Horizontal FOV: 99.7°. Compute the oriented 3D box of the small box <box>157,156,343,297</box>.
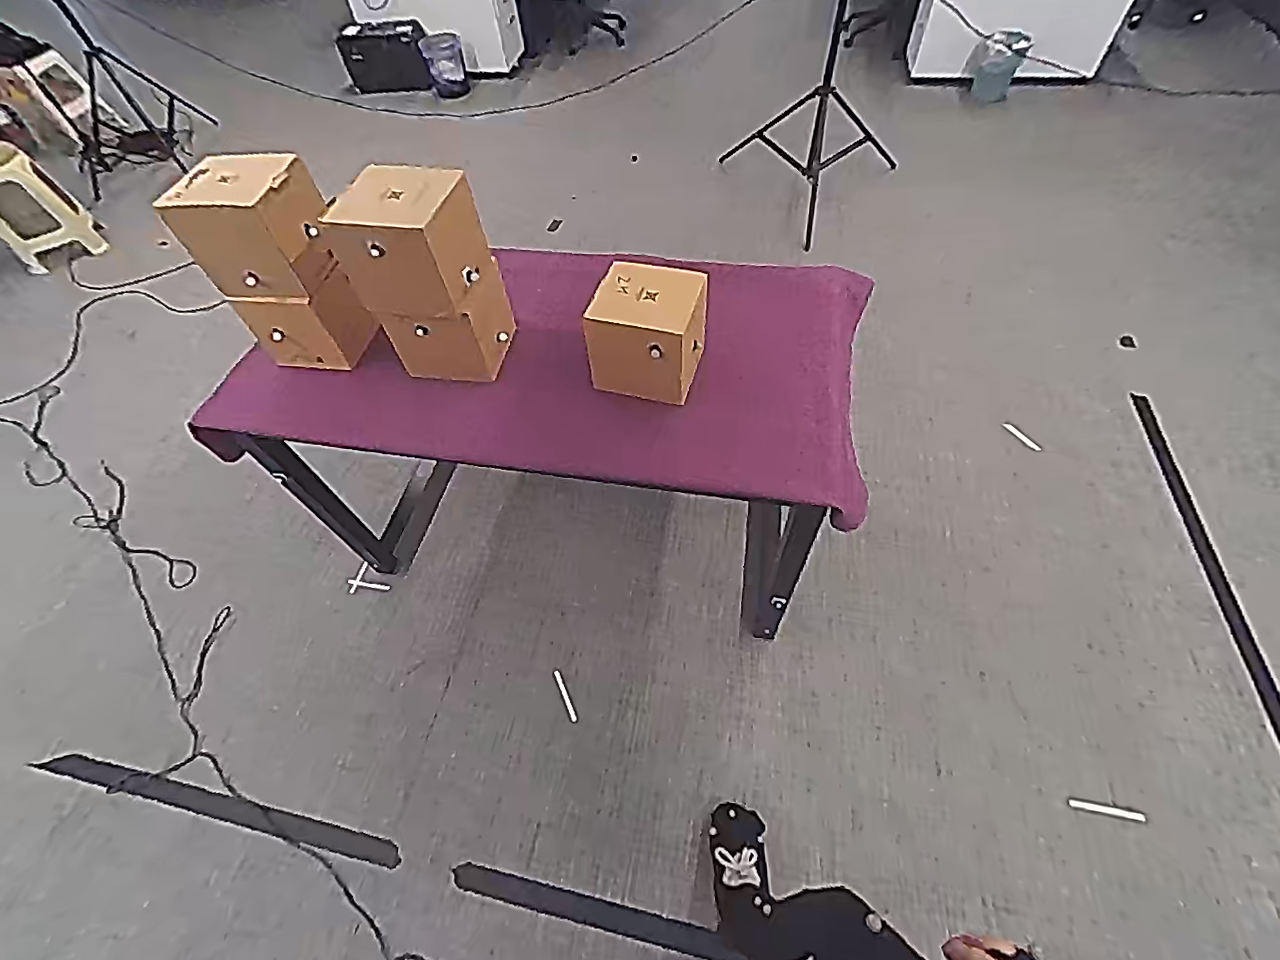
[{"bbox_3d":[-0.663,-0.441,0.951,0.179,0.176,0.168,3,55,5],"label":"small box"}]

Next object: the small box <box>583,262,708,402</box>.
[{"bbox_3d":[0.016,-0.263,0.980,0.179,0.176,0.168,13,57,13],"label":"small box"}]

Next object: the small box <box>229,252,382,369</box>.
[{"bbox_3d":[-0.650,-0.341,1.081,0.168,0.176,0.179,4,55,7],"label":"small box"}]

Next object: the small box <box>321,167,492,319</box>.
[{"bbox_3d":[-0.372,-0.390,0.898,0.179,0.176,0.168,8,58,8],"label":"small box"}]

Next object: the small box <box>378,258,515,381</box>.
[{"bbox_3d":[-0.360,-0.309,1.038,0.179,0.176,0.168,6,56,7],"label":"small box"}]
